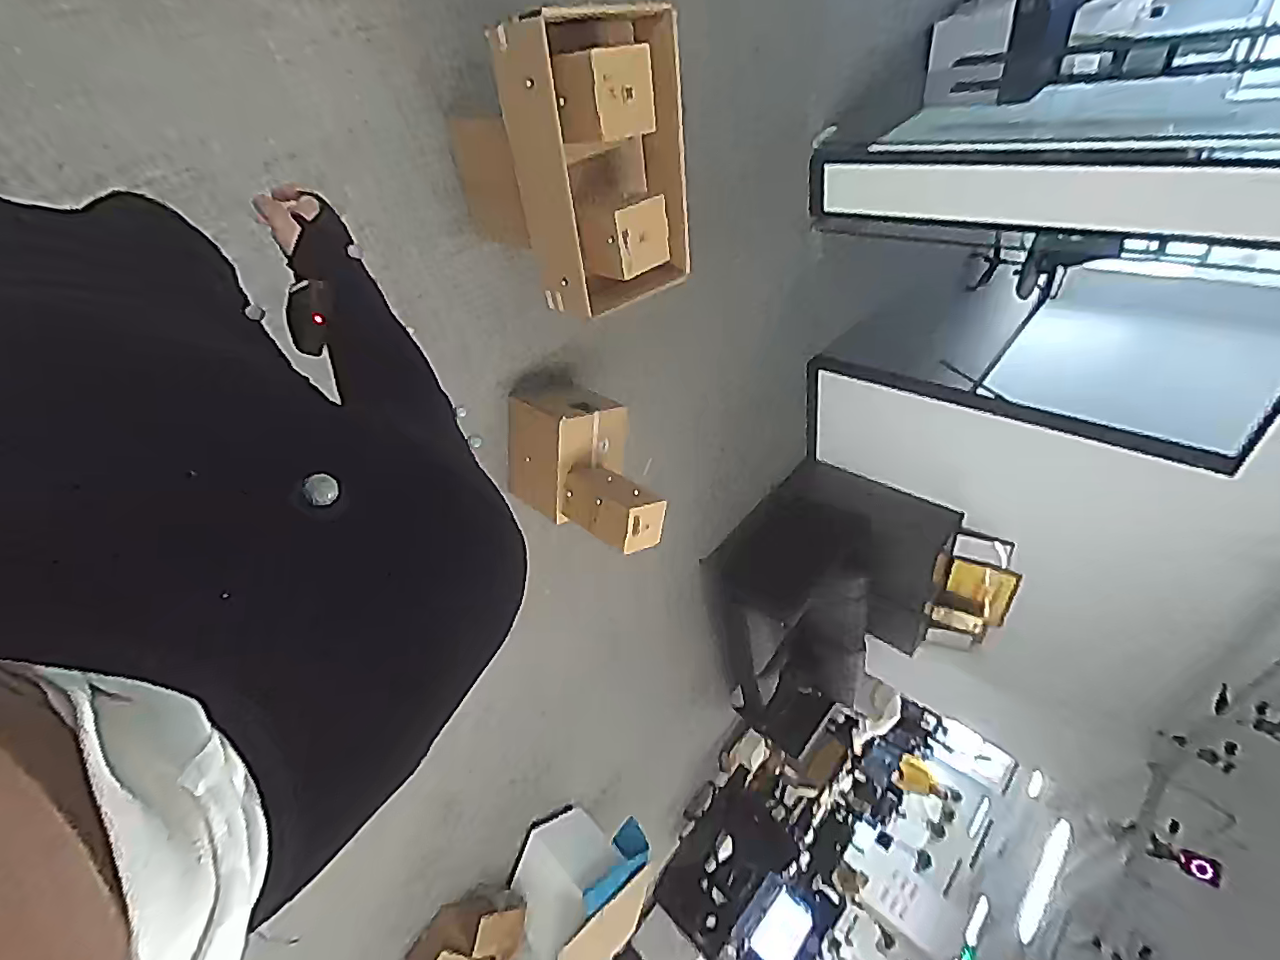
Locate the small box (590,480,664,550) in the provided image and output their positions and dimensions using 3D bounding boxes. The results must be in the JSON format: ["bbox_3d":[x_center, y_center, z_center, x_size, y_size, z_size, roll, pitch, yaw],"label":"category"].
[{"bbox_3d":[-0.048,0.112,1.810,0.179,0.176,0.168,-12,120,-46],"label":"small box"}]

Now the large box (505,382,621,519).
[{"bbox_3d":[-0.296,-0.125,2.051,0.320,0.320,0.408,-21,126,-43],"label":"large box"}]

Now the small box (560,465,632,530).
[{"bbox_3d":[-0.159,0.054,1.916,0.179,0.176,0.168,-11,119,-44],"label":"small box"}]
